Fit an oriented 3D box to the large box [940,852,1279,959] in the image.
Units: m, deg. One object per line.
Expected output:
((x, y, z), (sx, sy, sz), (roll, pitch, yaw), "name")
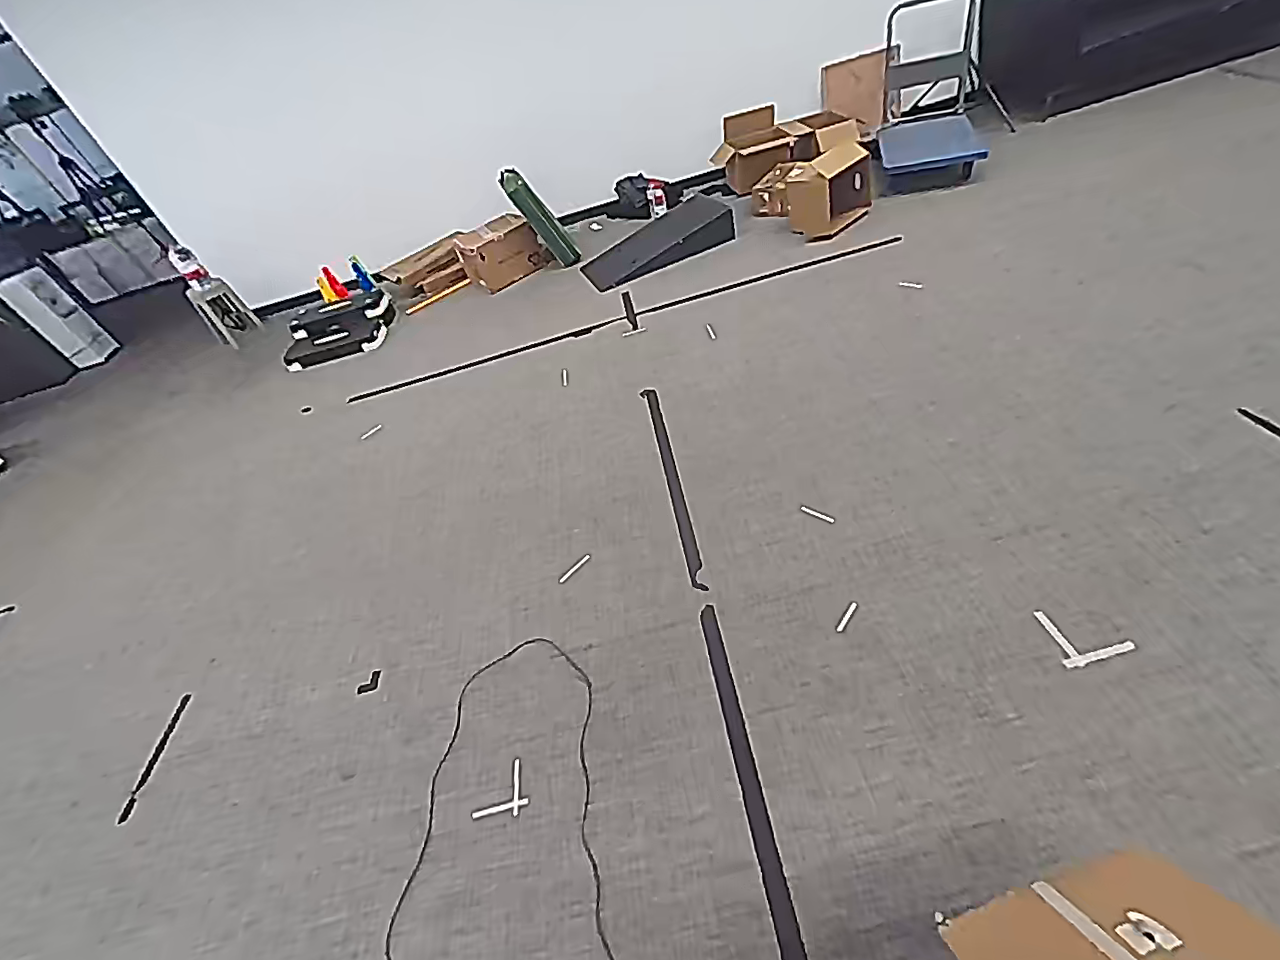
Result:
((0.616, 0.696, 0.554), (0.320, 0.408, 0.320), (-21, 81, -1), "large box")
